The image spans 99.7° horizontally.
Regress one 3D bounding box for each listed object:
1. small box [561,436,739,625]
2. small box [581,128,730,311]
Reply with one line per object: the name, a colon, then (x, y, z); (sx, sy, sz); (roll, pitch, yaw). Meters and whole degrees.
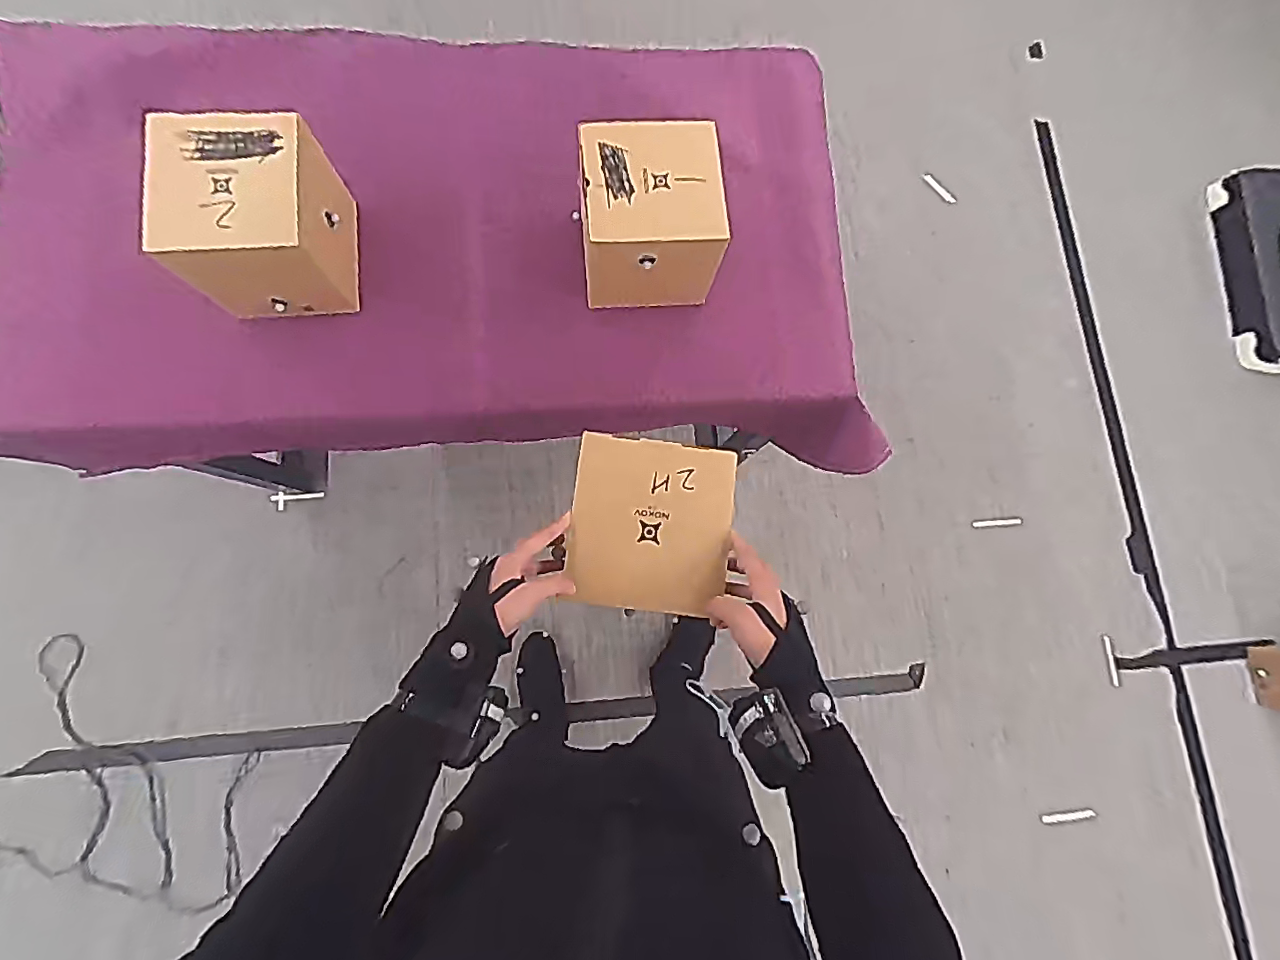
small box: (0.008, 0.061, 0.628); (0.168, 0.176, 0.179); (8, 81, -4)
small box: (0.013, -0.347, 0.744); (0.179, 0.176, 0.168); (-4, 81, -6)
